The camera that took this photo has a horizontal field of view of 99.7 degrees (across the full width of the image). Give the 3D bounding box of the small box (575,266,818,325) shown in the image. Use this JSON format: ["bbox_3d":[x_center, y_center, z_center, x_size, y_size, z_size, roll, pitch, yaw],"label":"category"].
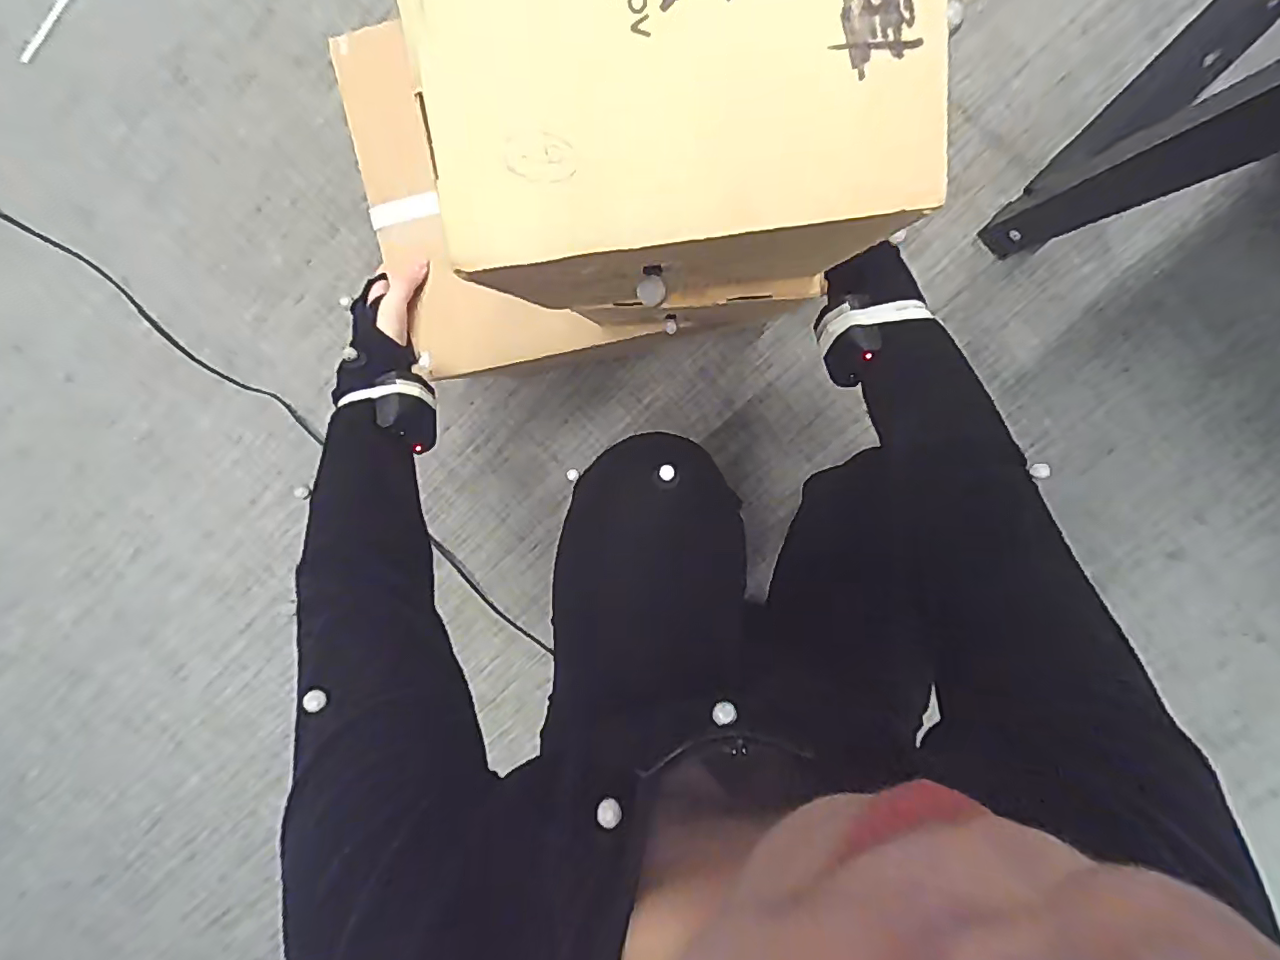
[{"bbox_3d":[0.034,-0.216,0.413,0.168,0.176,0.179,-1,104,4],"label":"small box"}]

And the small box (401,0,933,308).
[{"bbox_3d":[0.011,-0.179,0.253,0.179,0.176,0.168,-5,104,5],"label":"small box"}]
